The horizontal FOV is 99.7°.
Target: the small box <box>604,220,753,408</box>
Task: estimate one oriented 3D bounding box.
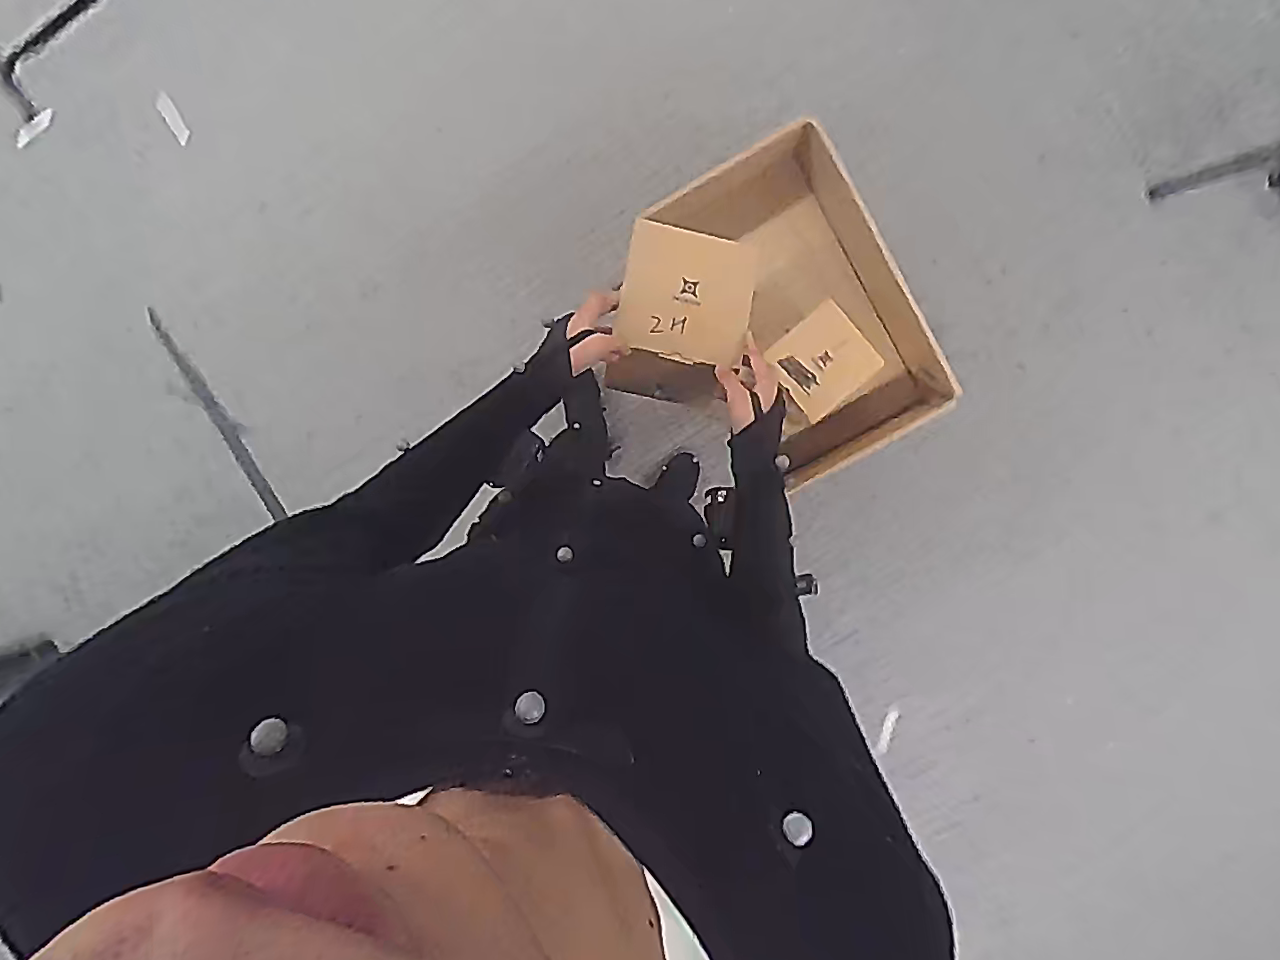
[{"bbox_3d":[0.044,-0.220,0.755,0.168,0.176,0.179,11,80,-4],"label":"small box"}]
